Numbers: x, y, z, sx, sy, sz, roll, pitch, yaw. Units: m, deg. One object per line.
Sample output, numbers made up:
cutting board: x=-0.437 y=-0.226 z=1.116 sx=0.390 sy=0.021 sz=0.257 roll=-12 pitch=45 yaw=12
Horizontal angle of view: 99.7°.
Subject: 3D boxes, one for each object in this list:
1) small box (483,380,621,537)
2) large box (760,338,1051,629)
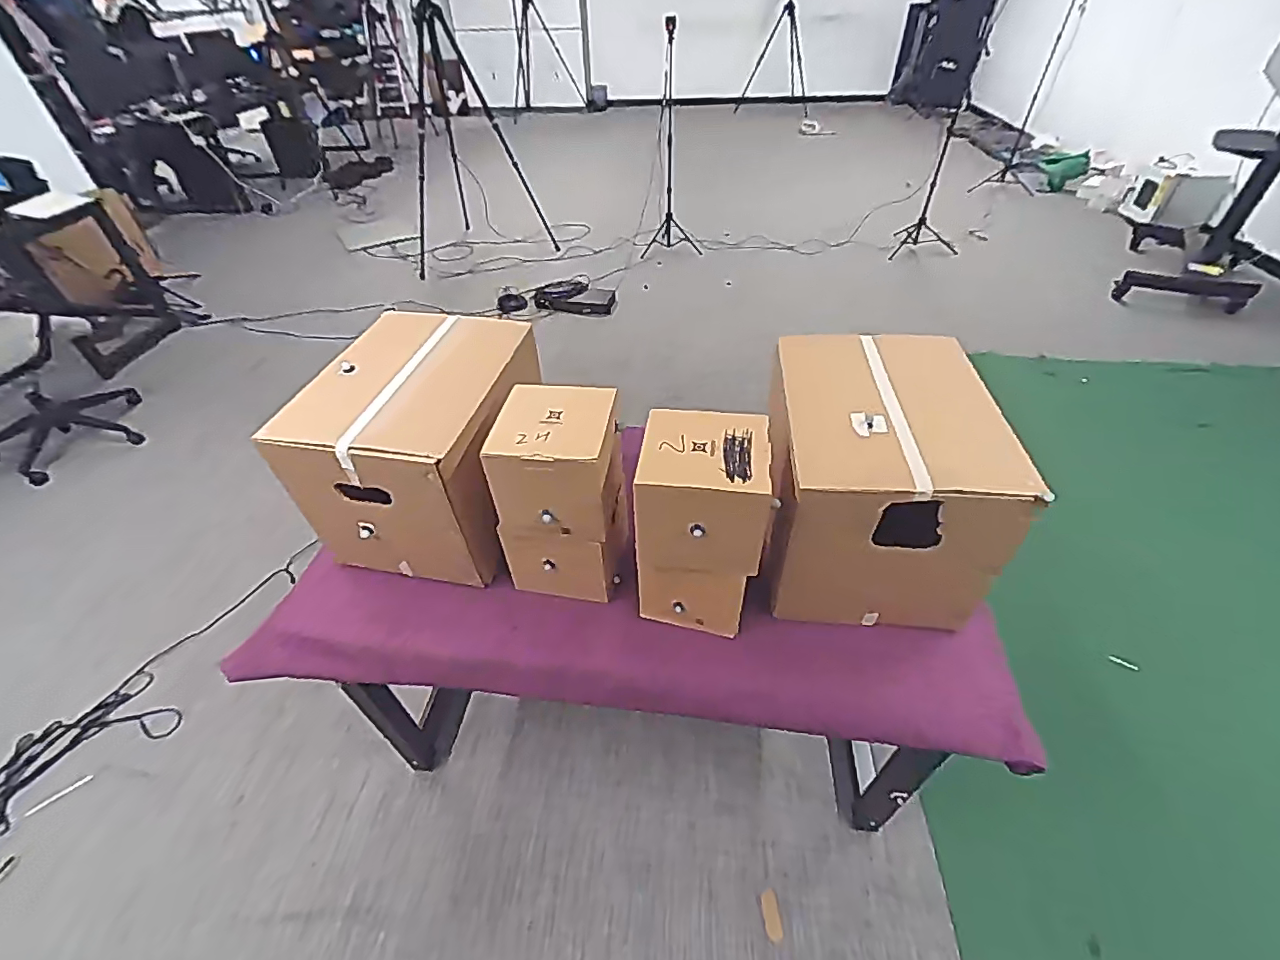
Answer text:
small box: x=-0.123 y=-0.035 z=0.843 sx=0.168 sy=0.176 sz=0.179 roll=4 pitch=44 yaw=7
large box: x=0.391 y=-0.006 z=0.935 sx=0.320 sy=0.320 sz=0.408 roll=2 pitch=44 yaw=7
